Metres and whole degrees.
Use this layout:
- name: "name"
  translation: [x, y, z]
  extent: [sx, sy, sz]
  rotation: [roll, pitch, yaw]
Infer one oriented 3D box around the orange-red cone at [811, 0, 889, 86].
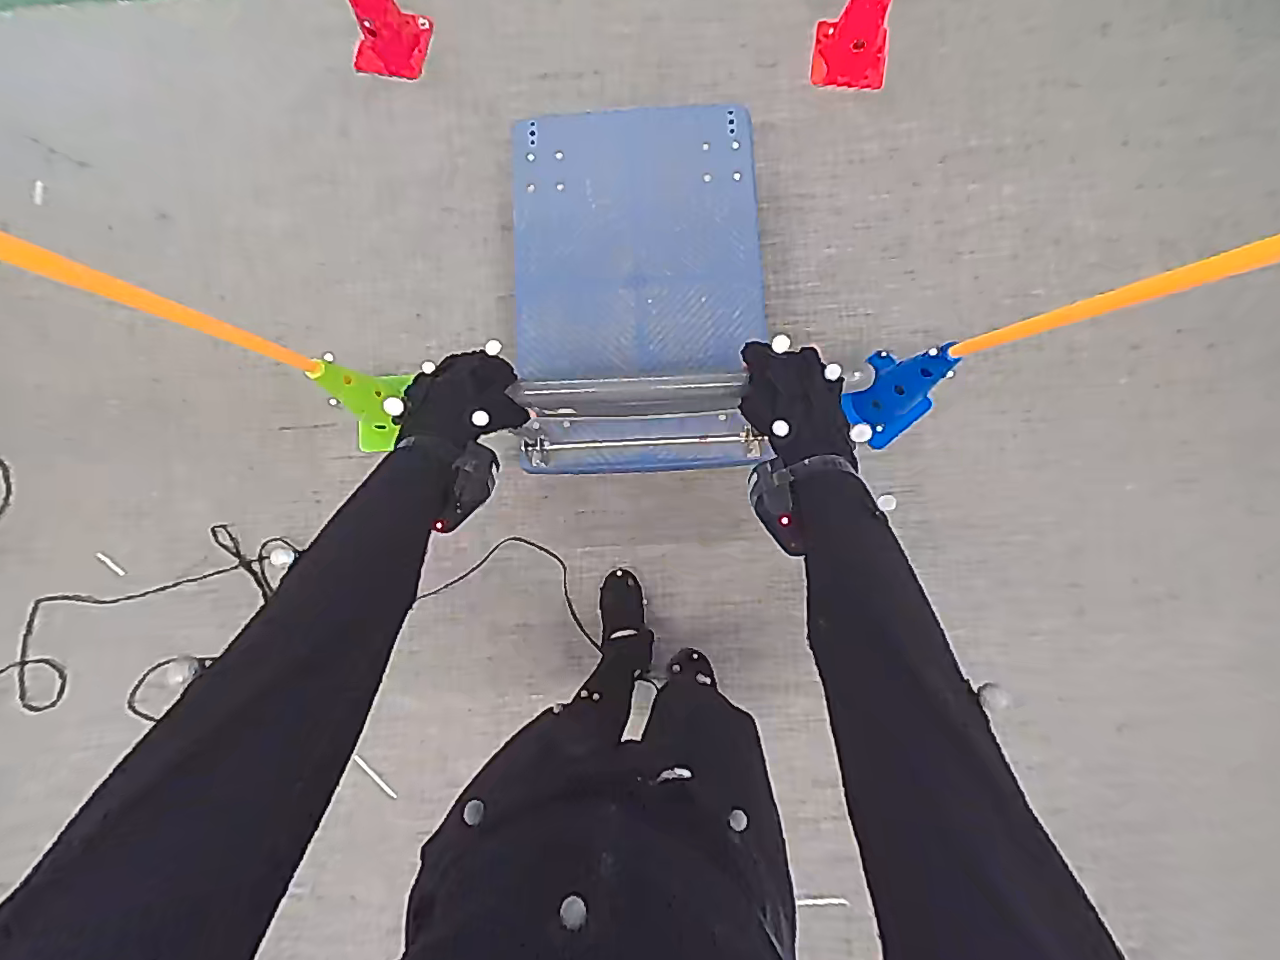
- name: "orange-red cone"
  translation: [0.575, -1.207, 1.329]
  extent: [0.198, 0.360, 0.199]
  rotation: [9, 84, 3]
